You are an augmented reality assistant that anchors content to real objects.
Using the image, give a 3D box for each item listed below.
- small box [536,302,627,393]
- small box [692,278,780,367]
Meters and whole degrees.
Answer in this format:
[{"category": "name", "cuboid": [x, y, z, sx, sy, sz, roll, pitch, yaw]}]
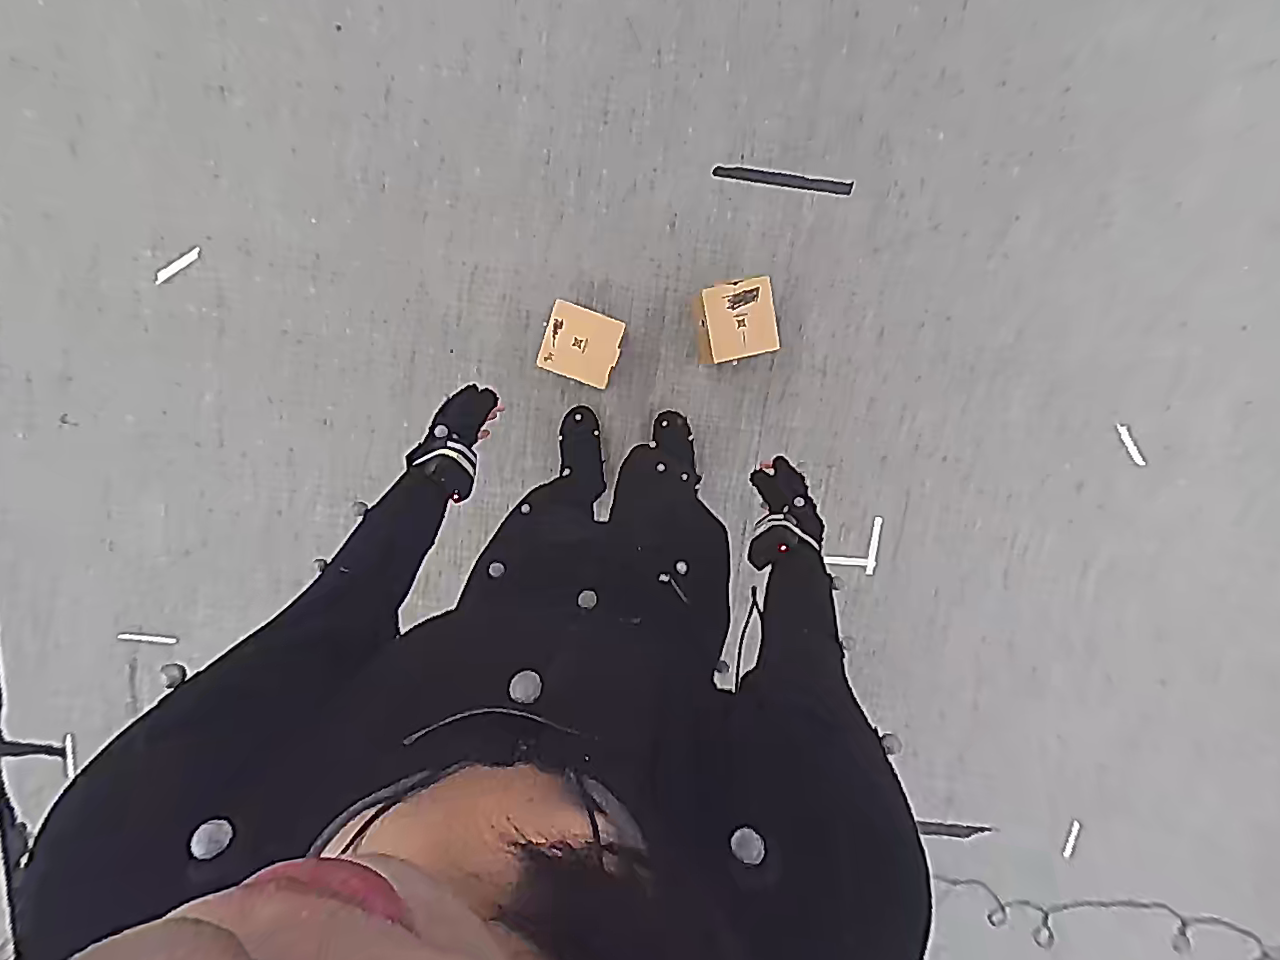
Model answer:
[{"category": "small box", "cuboid": [-0.142, -0.325, 1.346, 0.179, 0.176, 0.168, 19, 98, -7]}, {"category": "small box", "cuboid": [0.234, -0.387, 1.353, 0.168, 0.176, 0.179, -12, 101, -1]}]
